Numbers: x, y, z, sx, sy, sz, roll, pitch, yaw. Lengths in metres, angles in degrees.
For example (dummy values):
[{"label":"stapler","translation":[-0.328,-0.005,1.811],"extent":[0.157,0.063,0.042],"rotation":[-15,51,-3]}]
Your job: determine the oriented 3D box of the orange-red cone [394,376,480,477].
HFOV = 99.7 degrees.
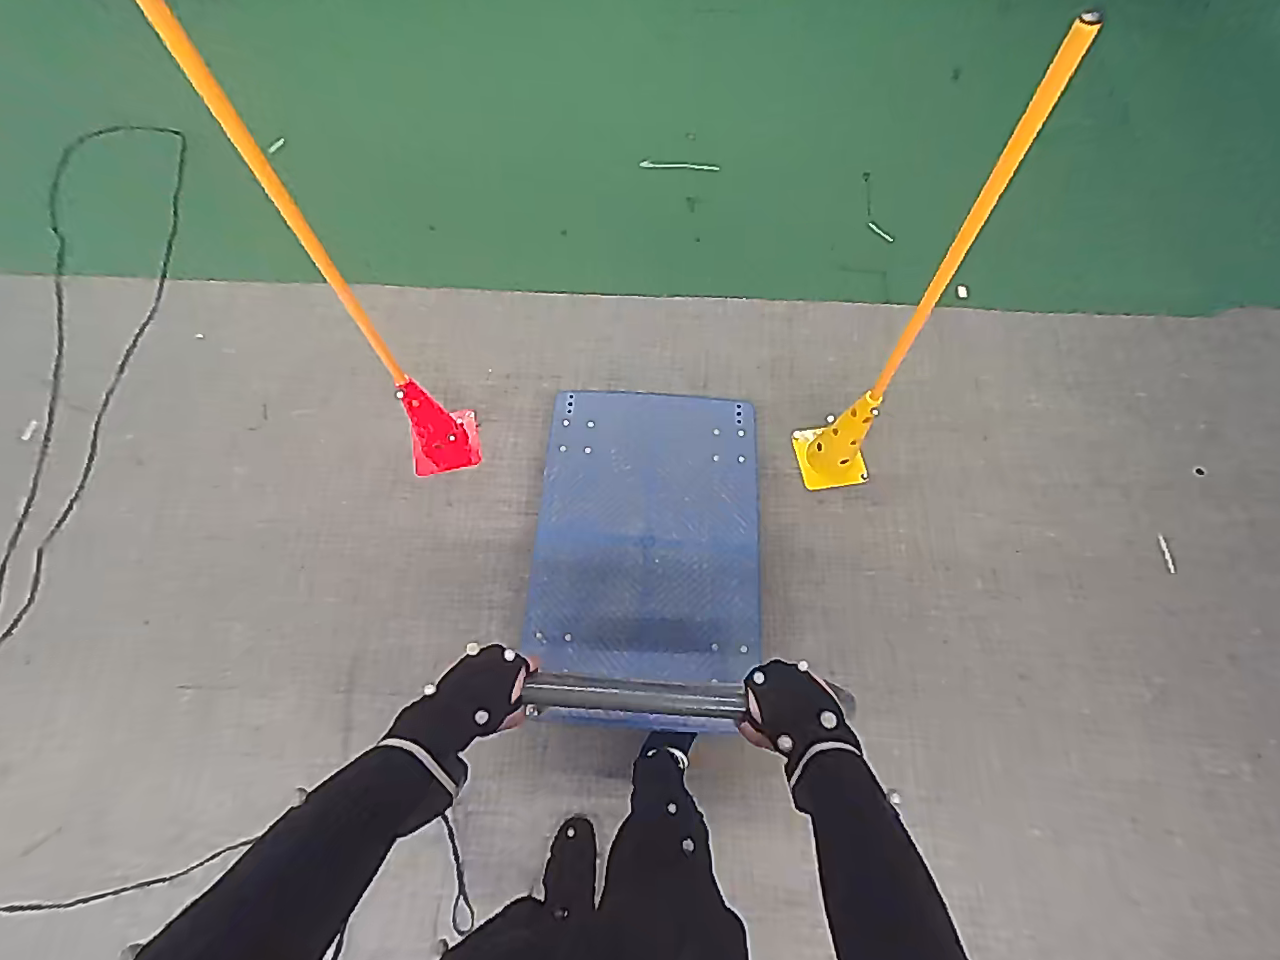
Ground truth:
[{"label":"orange-red cone","translation":[-0.600,-0.175,1.512],"extent":[0.199,0.360,0.198],"rotation":[-12,68,-4]}]
